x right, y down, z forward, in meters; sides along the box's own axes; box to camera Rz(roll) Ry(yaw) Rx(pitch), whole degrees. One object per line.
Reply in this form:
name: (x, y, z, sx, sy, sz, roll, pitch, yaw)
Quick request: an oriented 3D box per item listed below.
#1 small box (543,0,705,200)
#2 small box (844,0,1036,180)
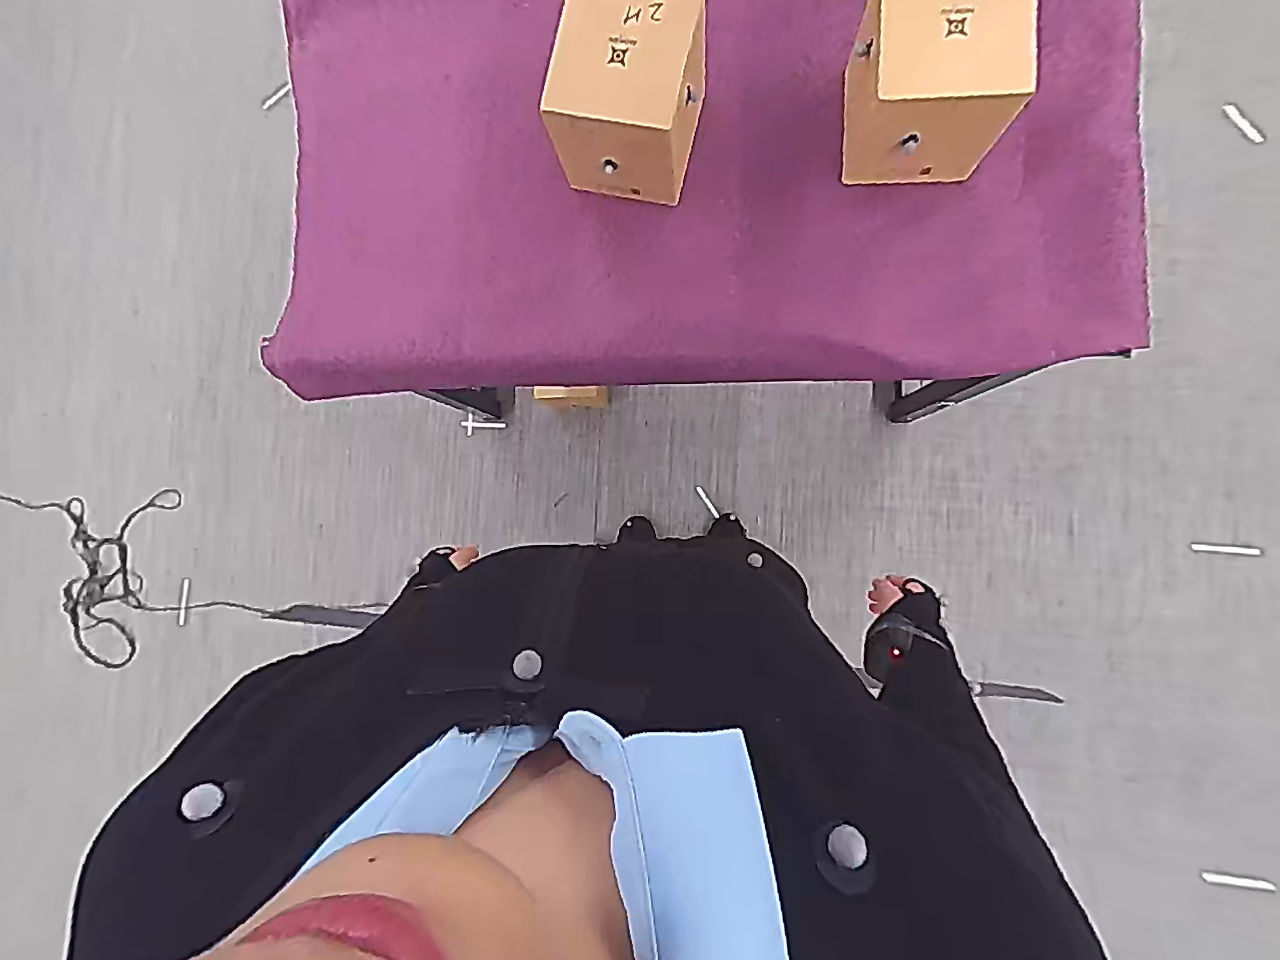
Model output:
small box: (-0.011, -0.511, 0.725, 0.168, 0.176, 0.179, 14, 89, 6)
small box: (0.365, -0.506, 0.685, 0.168, 0.176, 0.179, 3, 87, 7)
